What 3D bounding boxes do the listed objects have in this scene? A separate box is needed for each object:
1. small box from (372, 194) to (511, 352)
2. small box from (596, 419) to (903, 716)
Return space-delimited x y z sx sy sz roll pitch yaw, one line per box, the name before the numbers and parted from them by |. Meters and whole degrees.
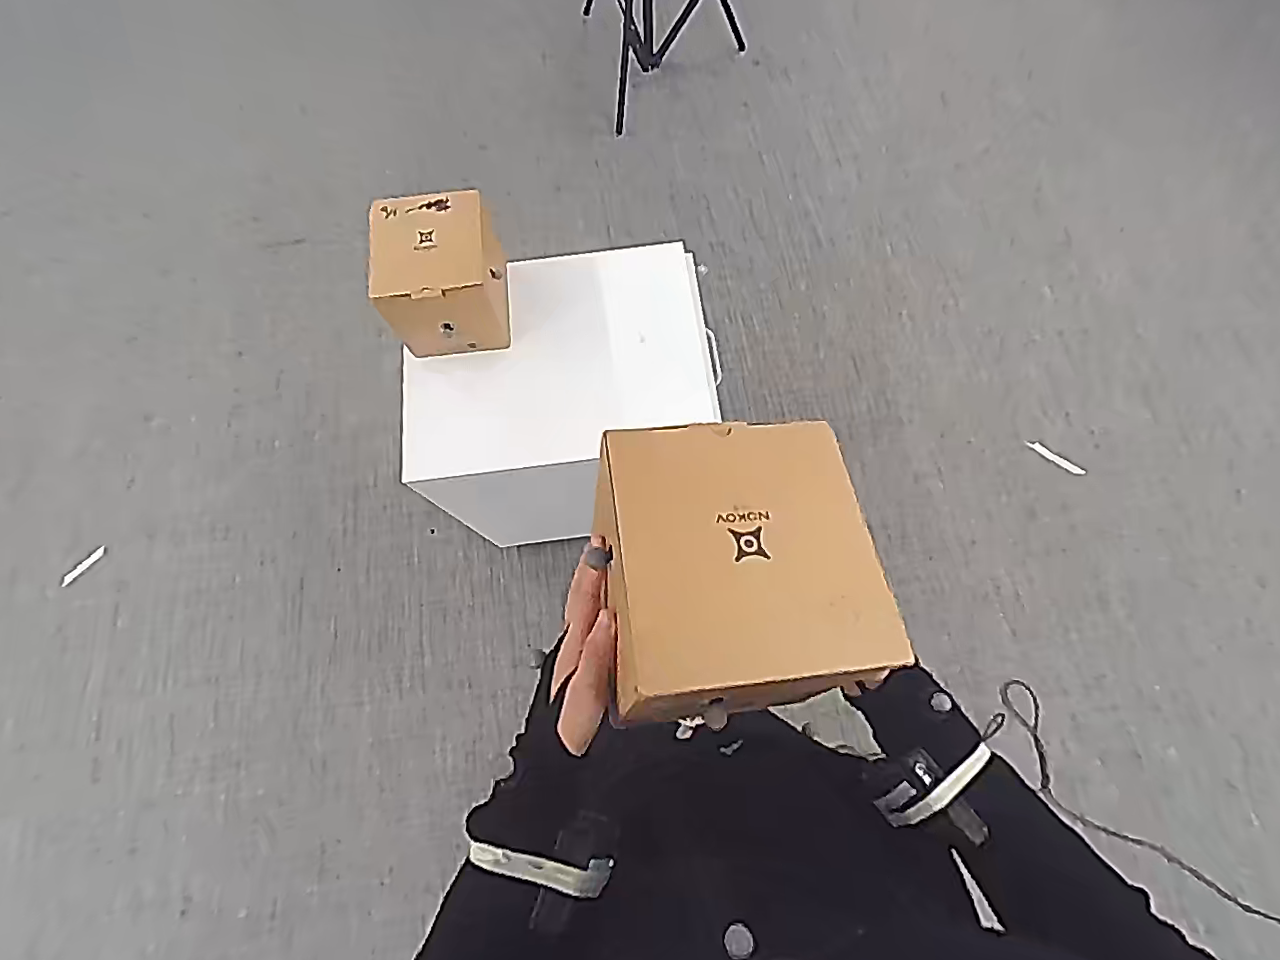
small box | -0.310 -0.319 0.870 0.168 0.176 0.179 -7 74 -2
small box | 0.057 0.075 0.414 0.168 0.176 0.179 -4 60 -10
